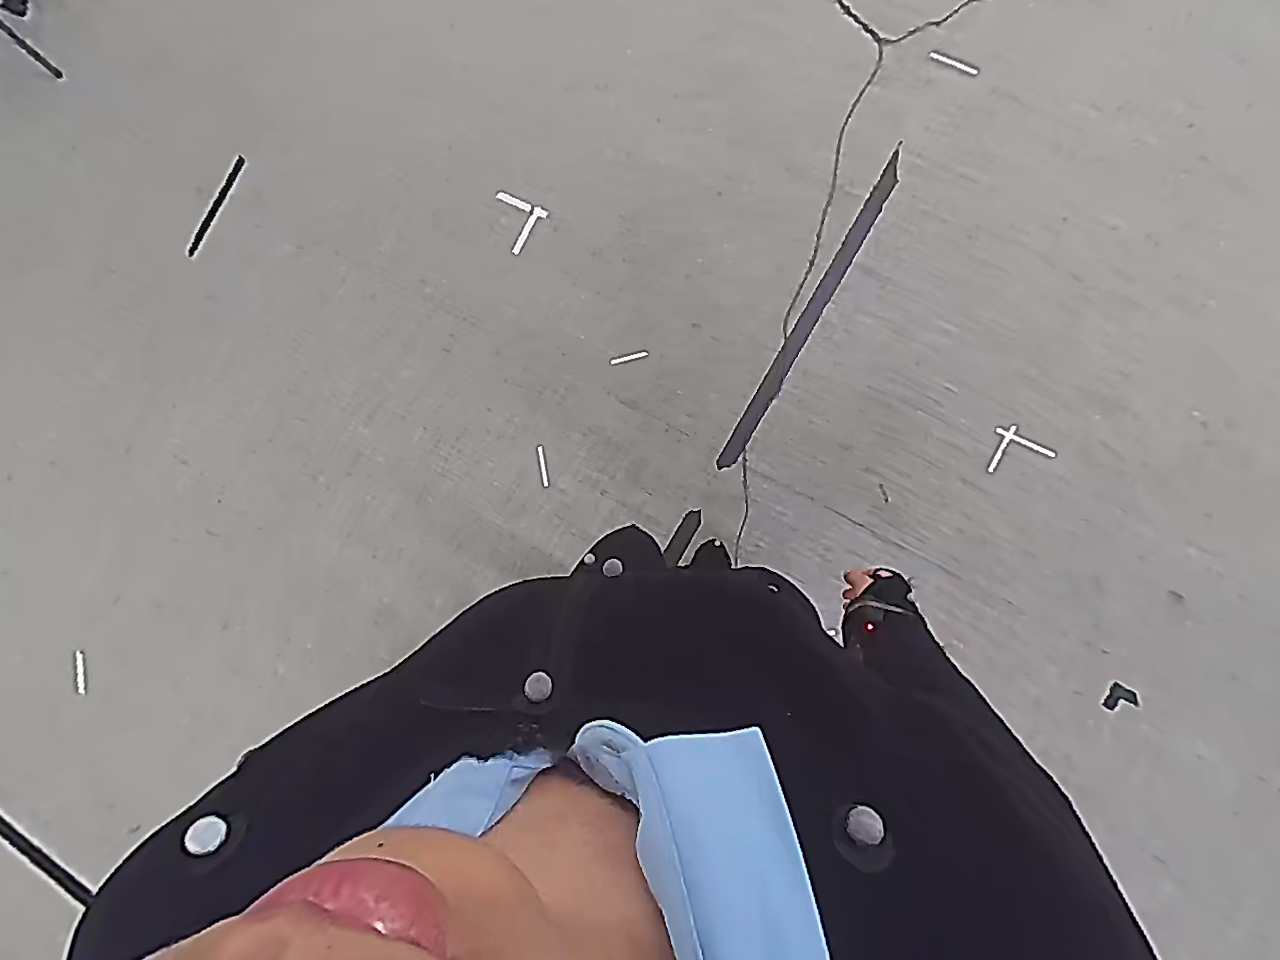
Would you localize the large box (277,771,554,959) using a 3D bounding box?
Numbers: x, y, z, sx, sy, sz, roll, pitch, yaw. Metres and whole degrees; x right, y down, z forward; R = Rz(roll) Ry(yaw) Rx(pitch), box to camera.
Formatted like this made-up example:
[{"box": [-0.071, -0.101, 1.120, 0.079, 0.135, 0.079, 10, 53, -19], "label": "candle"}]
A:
[{"box": [-0.457, 0.917, 1.161, 0.408, 0.320, 0.320, 26, 88, 8], "label": "large box"}]
